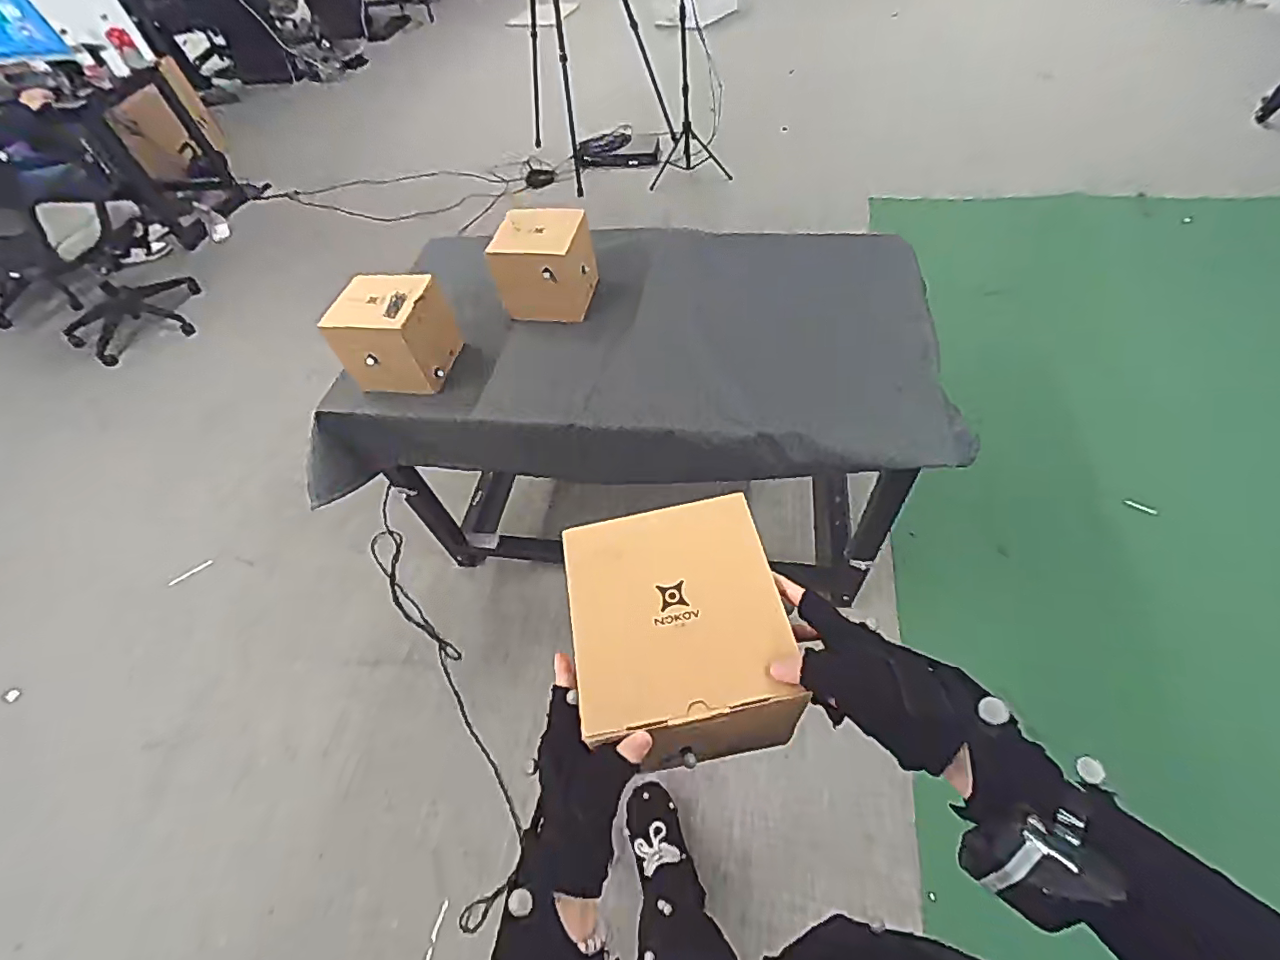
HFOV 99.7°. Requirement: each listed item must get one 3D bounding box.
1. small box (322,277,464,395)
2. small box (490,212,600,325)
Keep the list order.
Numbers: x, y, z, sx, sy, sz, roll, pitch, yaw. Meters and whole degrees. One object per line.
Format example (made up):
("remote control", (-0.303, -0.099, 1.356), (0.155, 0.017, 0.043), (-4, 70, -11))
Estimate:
("small box", (-0.484, -0.289, 1.095), (0.179, 0.176, 0.168), (4, 54, 11))
("small box", (-0.196, -0.459, 1.182), (0.179, 0.176, 0.168), (6, 56, 12))
